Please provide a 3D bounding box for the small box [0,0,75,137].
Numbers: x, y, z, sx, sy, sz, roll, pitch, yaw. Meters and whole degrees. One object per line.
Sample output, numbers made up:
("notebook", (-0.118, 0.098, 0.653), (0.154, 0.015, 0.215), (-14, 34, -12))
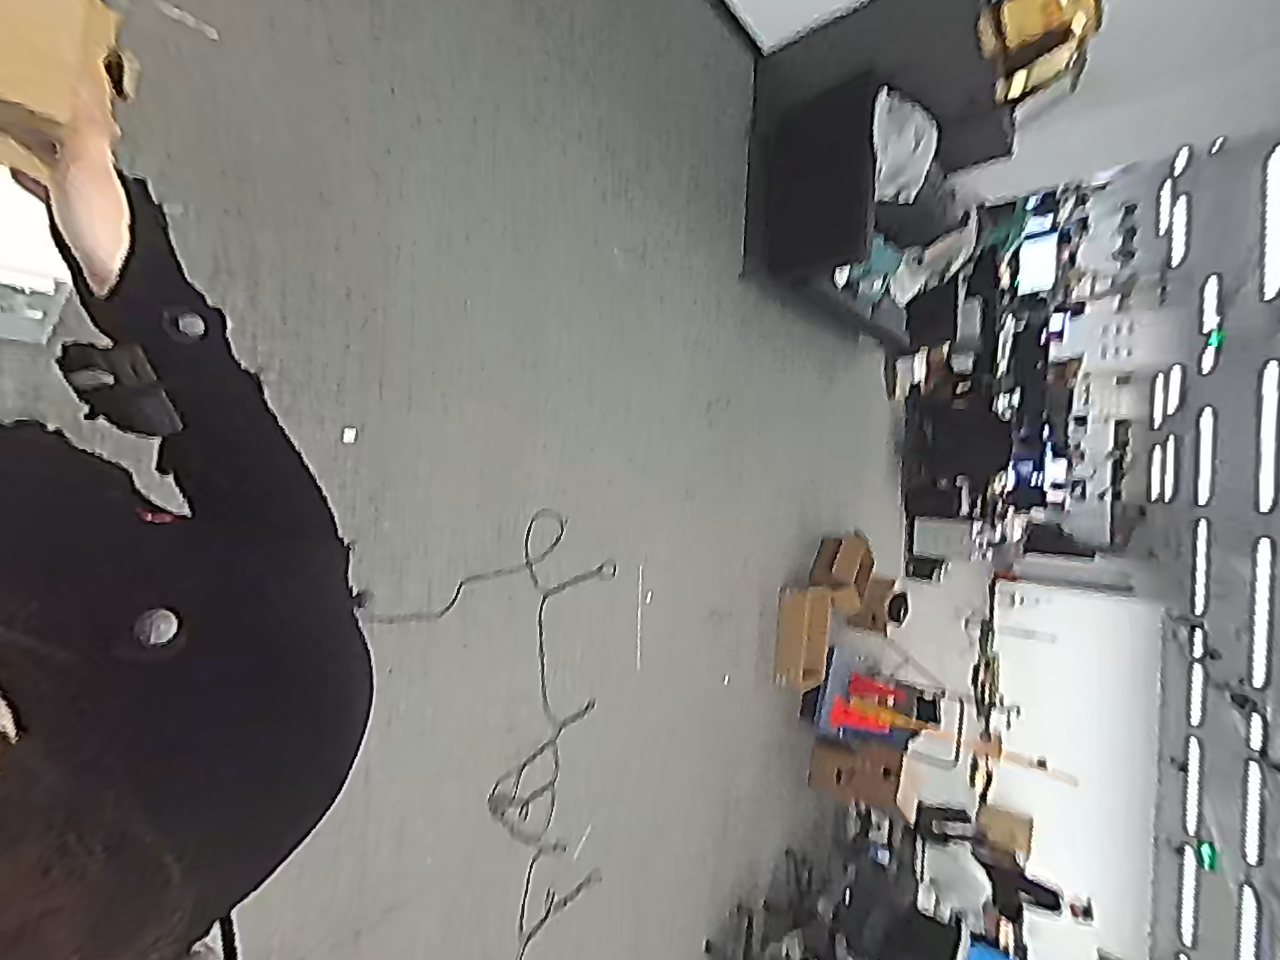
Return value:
("small box", (-0.365, -0.282, 0.235), (0.168, 0.176, 0.179), (8, 101, -53))
